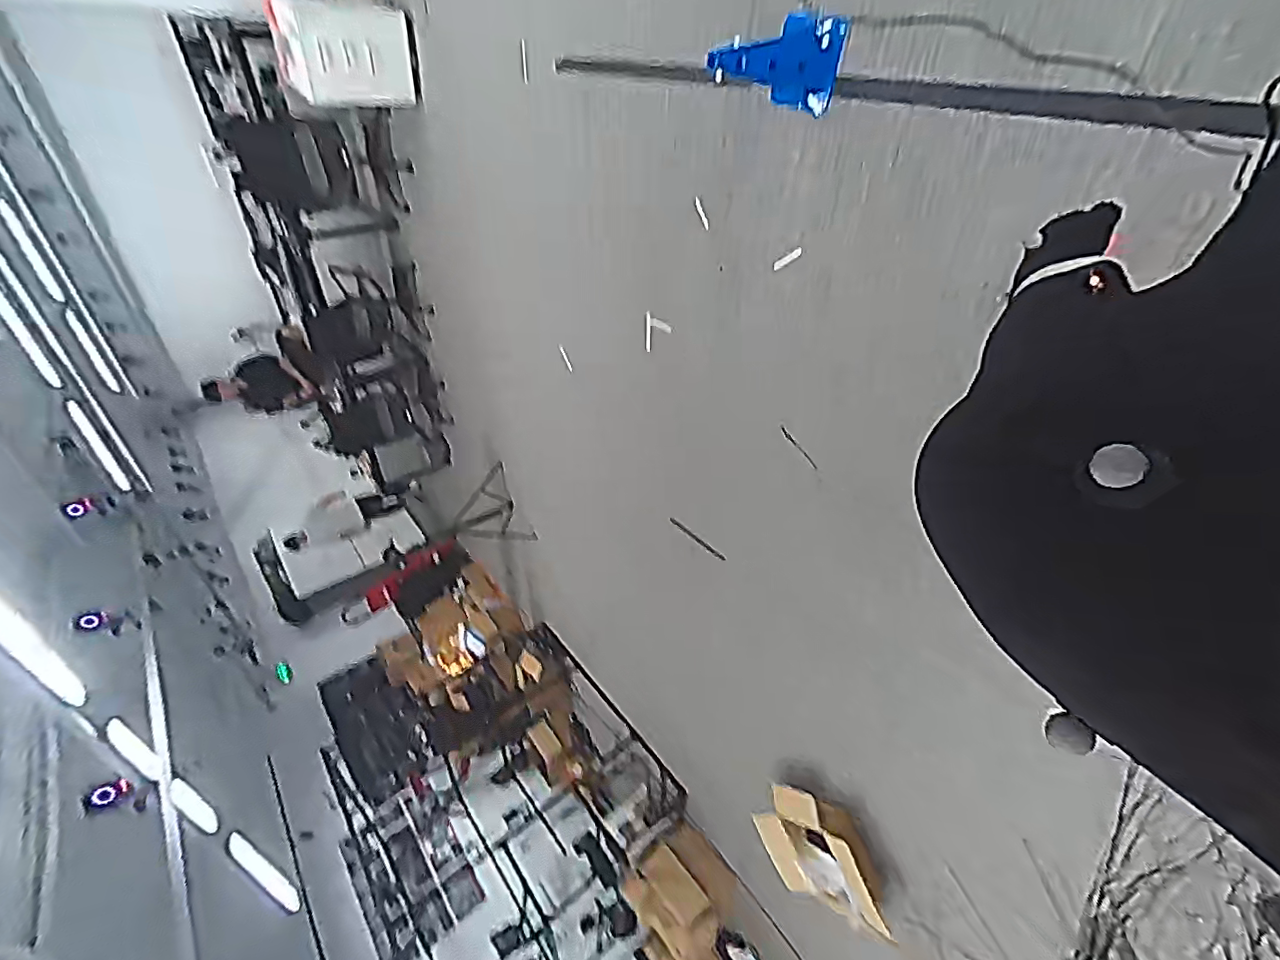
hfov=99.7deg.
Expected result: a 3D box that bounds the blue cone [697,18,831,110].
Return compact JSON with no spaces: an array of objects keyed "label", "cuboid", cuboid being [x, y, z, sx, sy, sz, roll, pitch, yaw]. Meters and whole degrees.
[{"label":"blue cone","cuboid":[0.281,-1.041,1.345,0.192,0.380,0.193,40,141,34]}]
